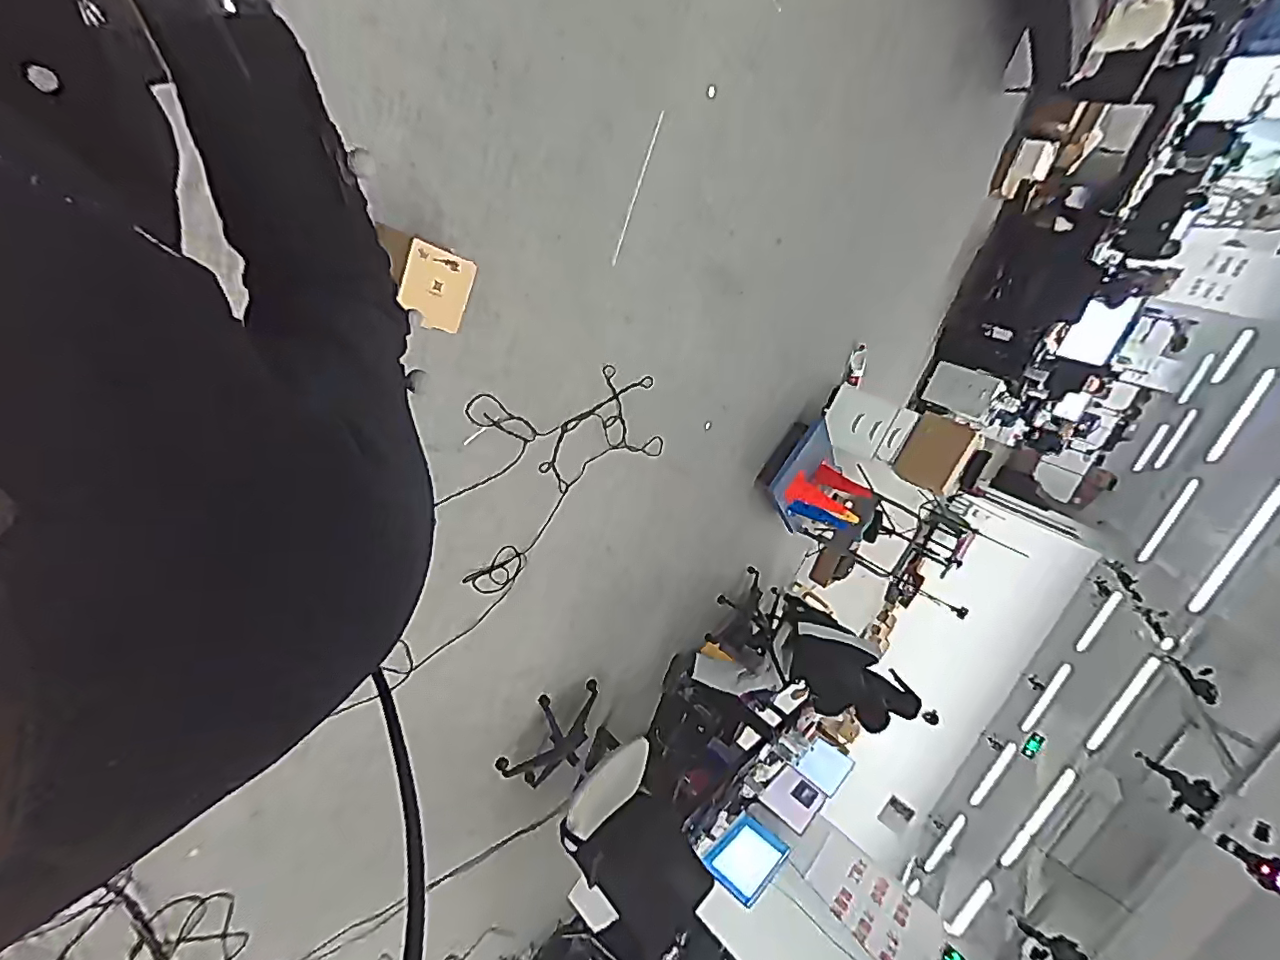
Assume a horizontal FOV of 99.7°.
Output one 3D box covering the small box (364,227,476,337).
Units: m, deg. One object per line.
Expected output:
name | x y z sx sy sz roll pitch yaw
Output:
small box | -0.523 -0.466 1.274 0.168 0.176 0.179 6 112 -54
